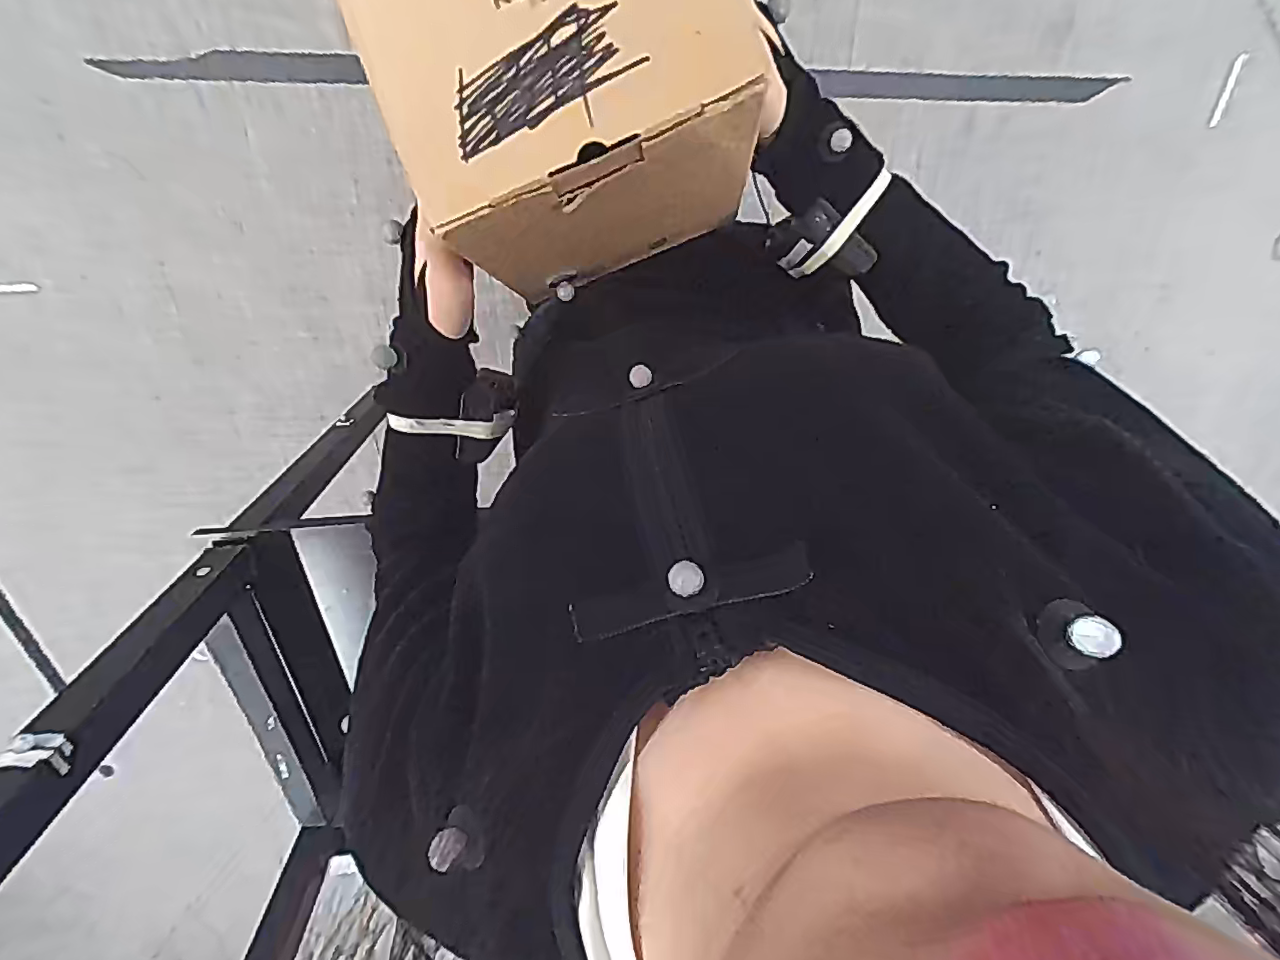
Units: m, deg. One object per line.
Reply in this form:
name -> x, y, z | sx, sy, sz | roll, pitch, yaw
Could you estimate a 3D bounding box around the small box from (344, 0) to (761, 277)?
small box -> -0.043, -0.236, 0.312 | 0.168, 0.176, 0.179 | -21, 94, 7
